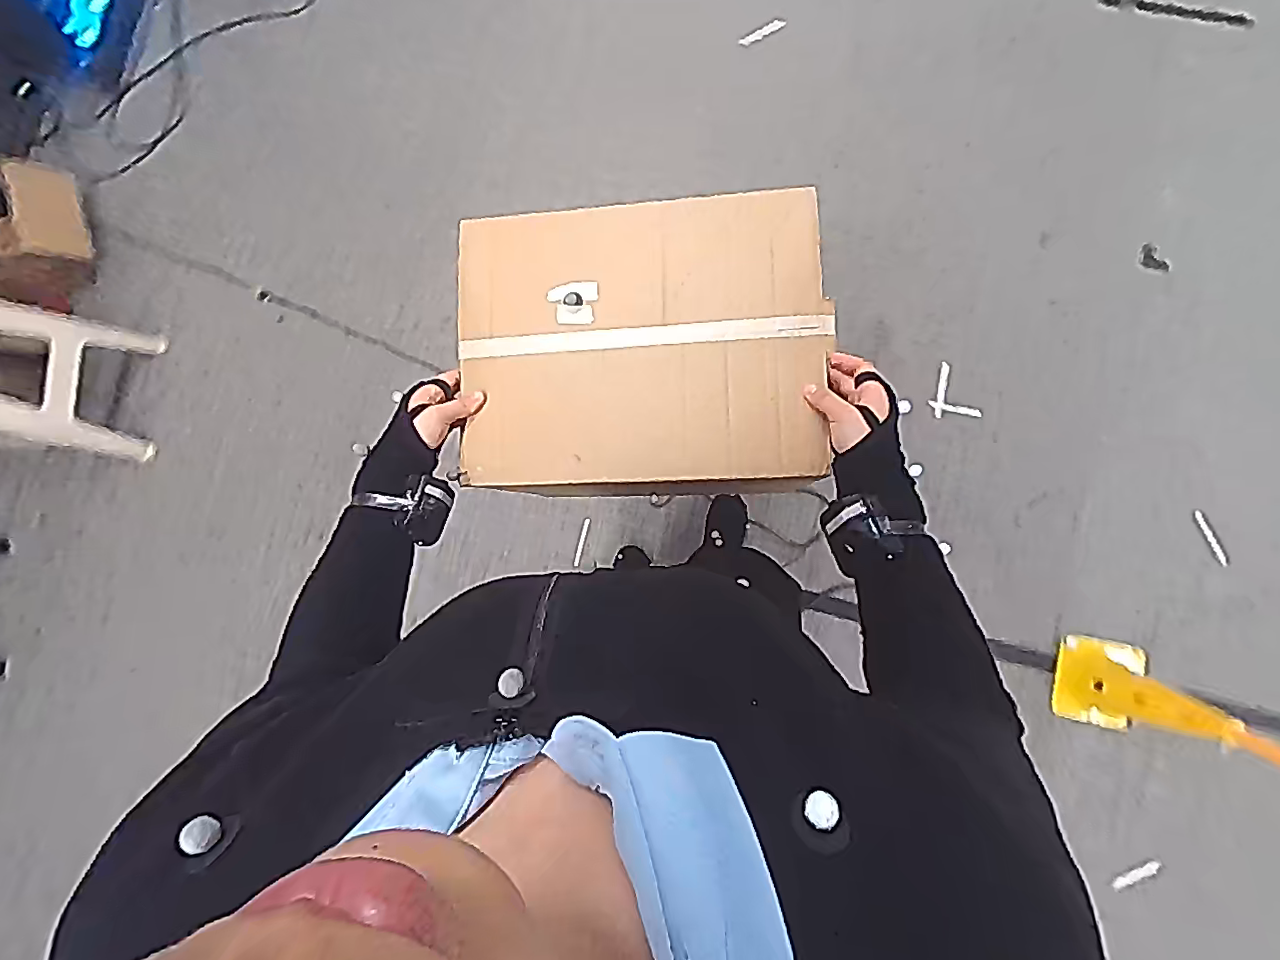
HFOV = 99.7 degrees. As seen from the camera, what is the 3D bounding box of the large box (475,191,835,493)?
[{"bbox_3d":[0.029,-0.145,0.748,0.408,0.320,0.320,-1,85,9],"label":"large box"}]
